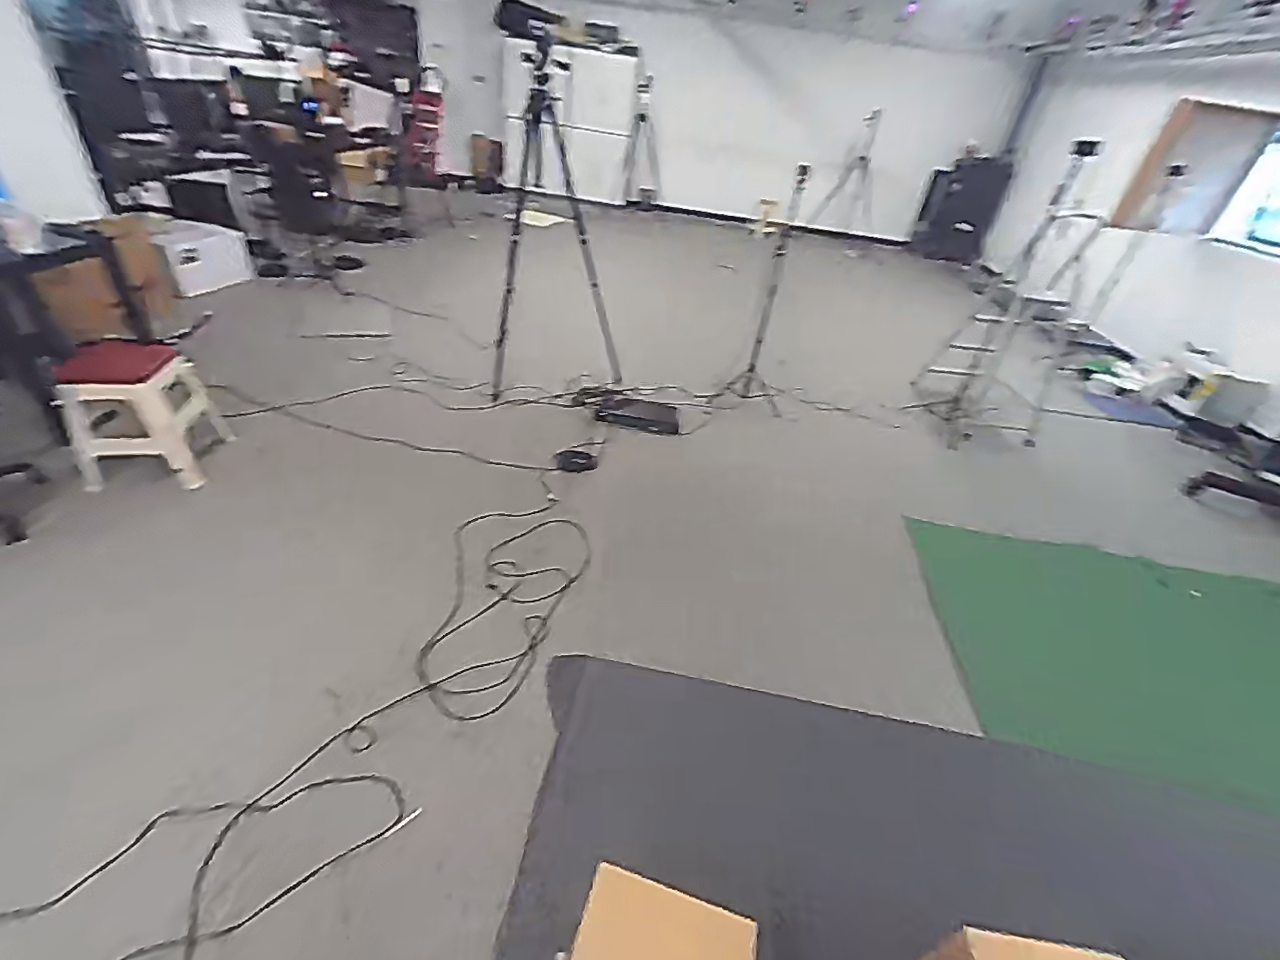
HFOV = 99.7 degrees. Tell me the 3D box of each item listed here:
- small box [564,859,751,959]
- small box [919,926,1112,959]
[{"bbox_3d":[-0.002,0.523,0.520,0.168,0.176,0.179,15,34,11],"label":"small box"},{"bbox_3d":[0.383,0.586,0.531,0.168,0.176,0.179,10,36,1],"label":"small box"}]
